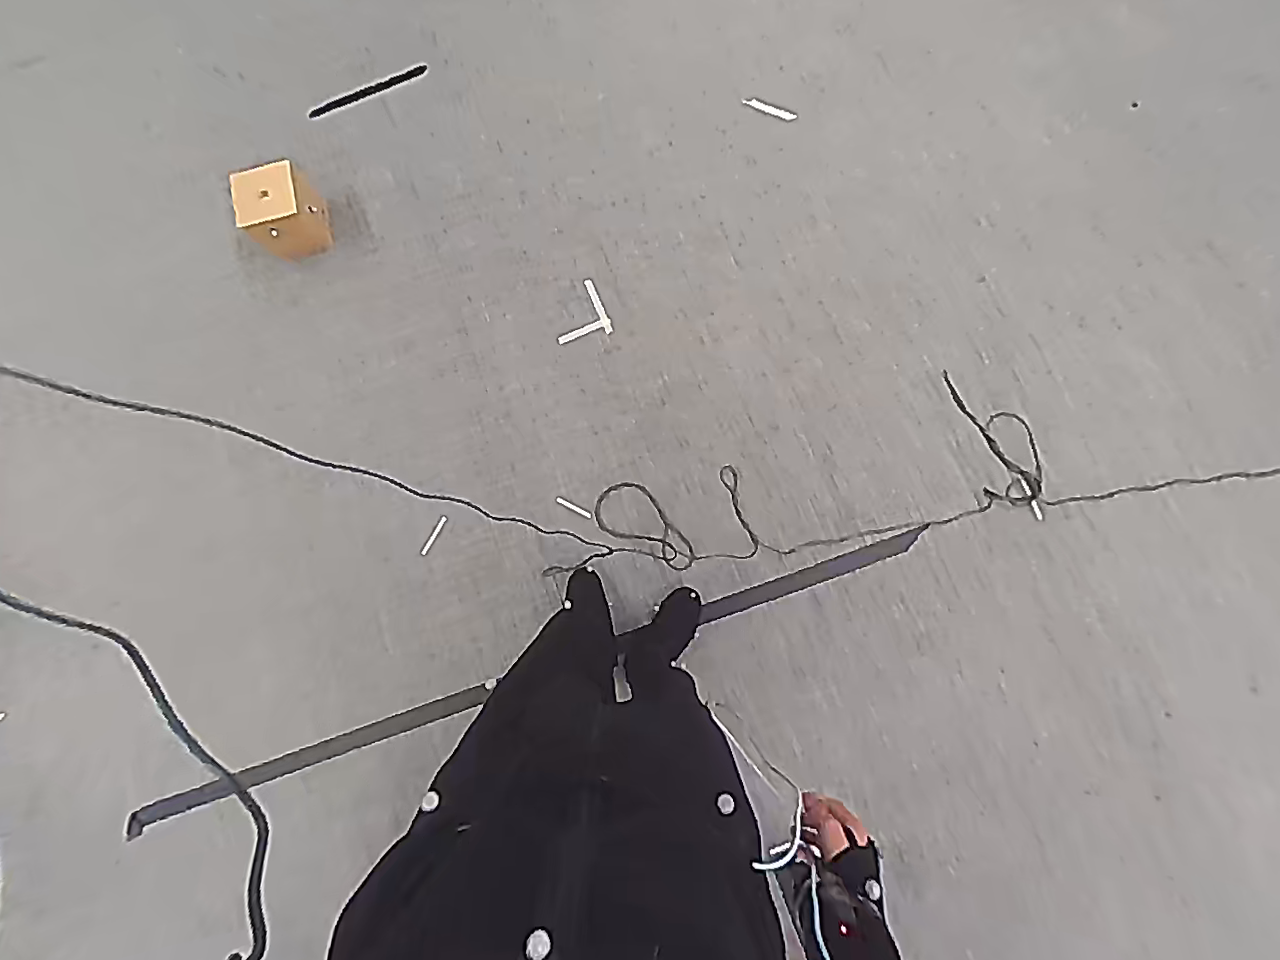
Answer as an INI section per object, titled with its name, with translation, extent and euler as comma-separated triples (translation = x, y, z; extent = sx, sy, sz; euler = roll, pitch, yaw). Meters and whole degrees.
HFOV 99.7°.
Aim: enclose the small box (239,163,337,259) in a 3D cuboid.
[small box]
translation = -1.009, -0.772, 1.566
extent = 0.179, 0.176, 0.168
euler = -13, 83, 2
